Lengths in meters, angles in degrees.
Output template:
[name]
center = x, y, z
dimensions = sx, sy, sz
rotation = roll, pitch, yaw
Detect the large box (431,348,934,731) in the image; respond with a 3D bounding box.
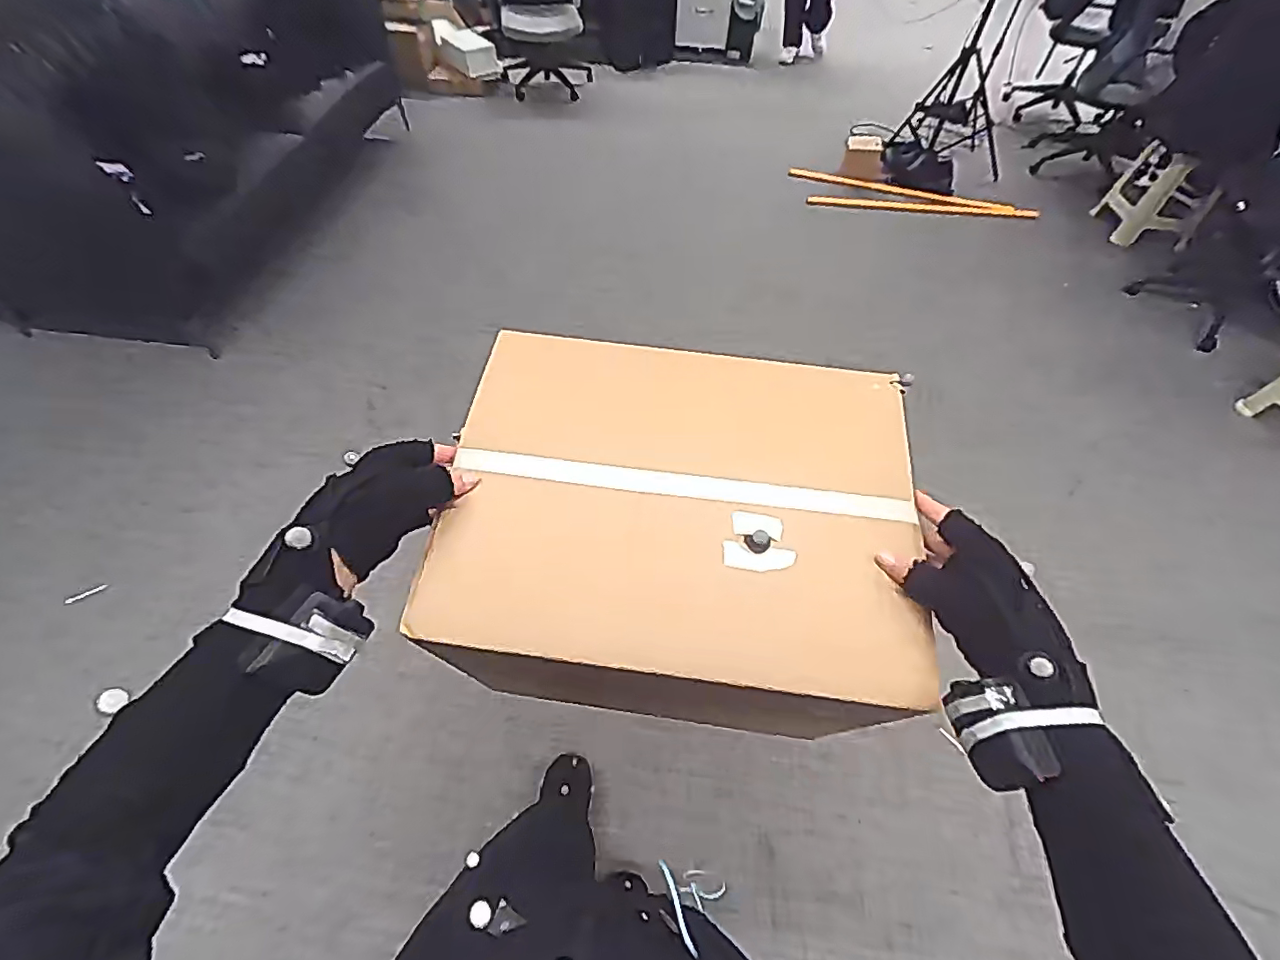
[large box]
center = 0.040, 0.086, 0.619
dimensions = 0.408, 0.320, 0.320
rotation = 7, 62, 2
